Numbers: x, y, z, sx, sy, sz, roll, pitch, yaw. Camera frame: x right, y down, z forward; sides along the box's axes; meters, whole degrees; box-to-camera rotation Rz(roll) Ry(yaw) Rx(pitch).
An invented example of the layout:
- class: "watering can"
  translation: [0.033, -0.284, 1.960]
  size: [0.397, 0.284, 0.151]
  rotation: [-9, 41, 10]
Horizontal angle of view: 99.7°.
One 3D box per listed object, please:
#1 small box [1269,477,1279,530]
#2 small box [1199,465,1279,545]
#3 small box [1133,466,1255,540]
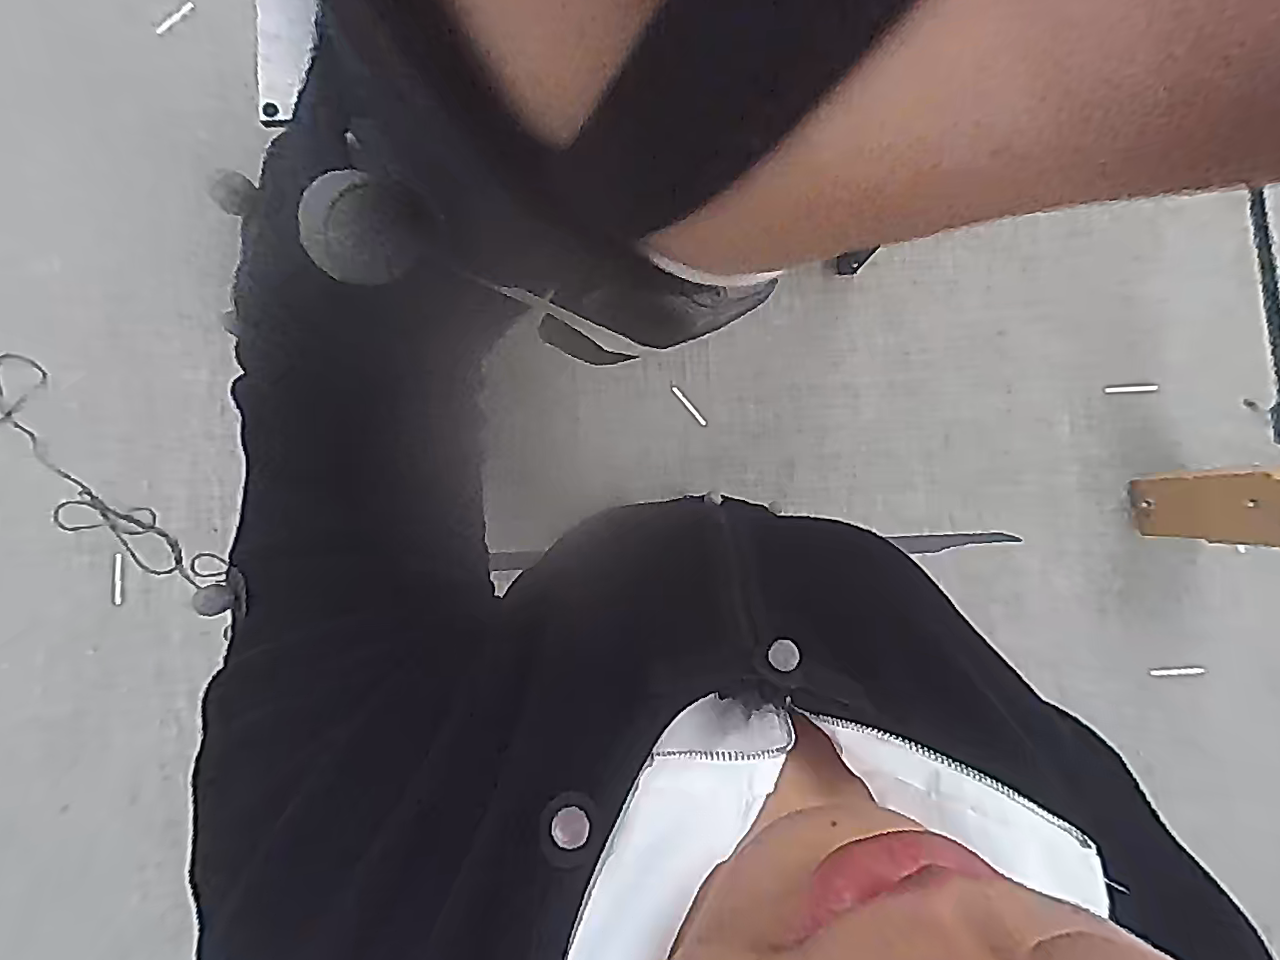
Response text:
- class: "small box"
  translation: [1.491, 0.056, 1.116]
  size: [0.179, 0.176, 0.168]
  rotation: [-12, 86, -1]
- class: "small box"
  translation: [1.493, 0.057, 1.281]
  size: [0.168, 0.176, 0.179]
  rotation: [-8, 87, -1]
- class: "small box"
  translation: [1.489, 0.061, 1.446]
  size: [0.179, 0.176, 0.168]
  rotation: [-10, 86, 0]
